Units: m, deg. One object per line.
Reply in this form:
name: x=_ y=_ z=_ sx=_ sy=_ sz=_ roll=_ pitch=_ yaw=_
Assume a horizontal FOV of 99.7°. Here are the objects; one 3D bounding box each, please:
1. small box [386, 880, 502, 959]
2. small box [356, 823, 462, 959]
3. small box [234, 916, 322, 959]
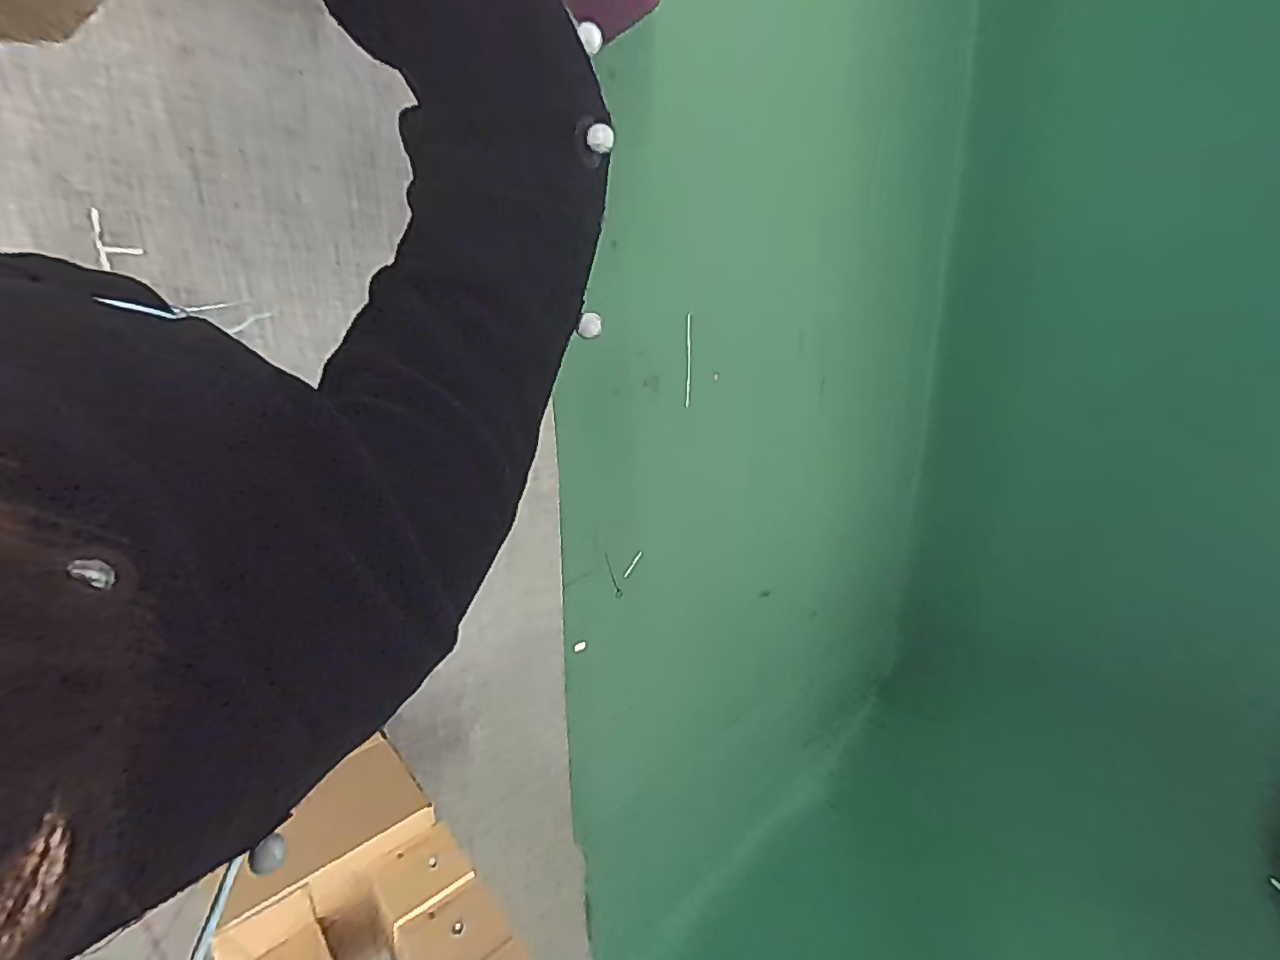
small box: x=-0.385 y=0.938 z=1.059 sx=0.168 sy=0.176 sz=0.179 roll=-10 pitch=109 yaw=-41
small box: x=-0.497 y=0.890 z=1.171 sx=0.168 sy=0.176 sz=0.179 roll=-13 pitch=111 yaw=-41
small box: x=-0.690 y=0.993 z=1.013 sx=0.179 sy=0.176 sz=0.168 roll=-17 pitch=114 yaw=-42
